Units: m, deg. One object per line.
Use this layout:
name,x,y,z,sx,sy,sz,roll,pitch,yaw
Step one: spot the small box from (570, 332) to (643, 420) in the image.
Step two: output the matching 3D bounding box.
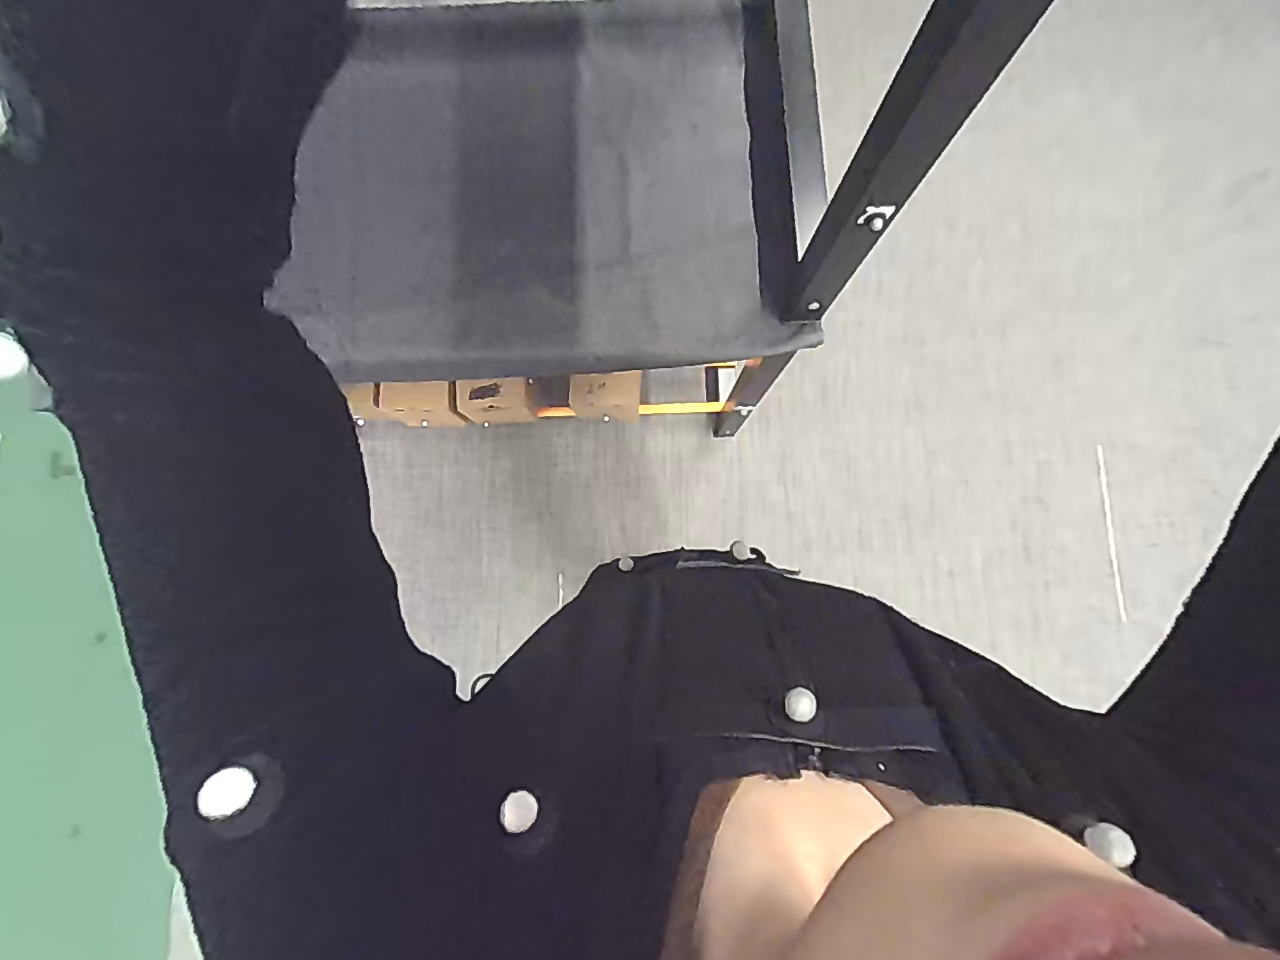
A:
small box,-0.080,-0.261,1.384,0.168,0.176,0.179,3,84,2
